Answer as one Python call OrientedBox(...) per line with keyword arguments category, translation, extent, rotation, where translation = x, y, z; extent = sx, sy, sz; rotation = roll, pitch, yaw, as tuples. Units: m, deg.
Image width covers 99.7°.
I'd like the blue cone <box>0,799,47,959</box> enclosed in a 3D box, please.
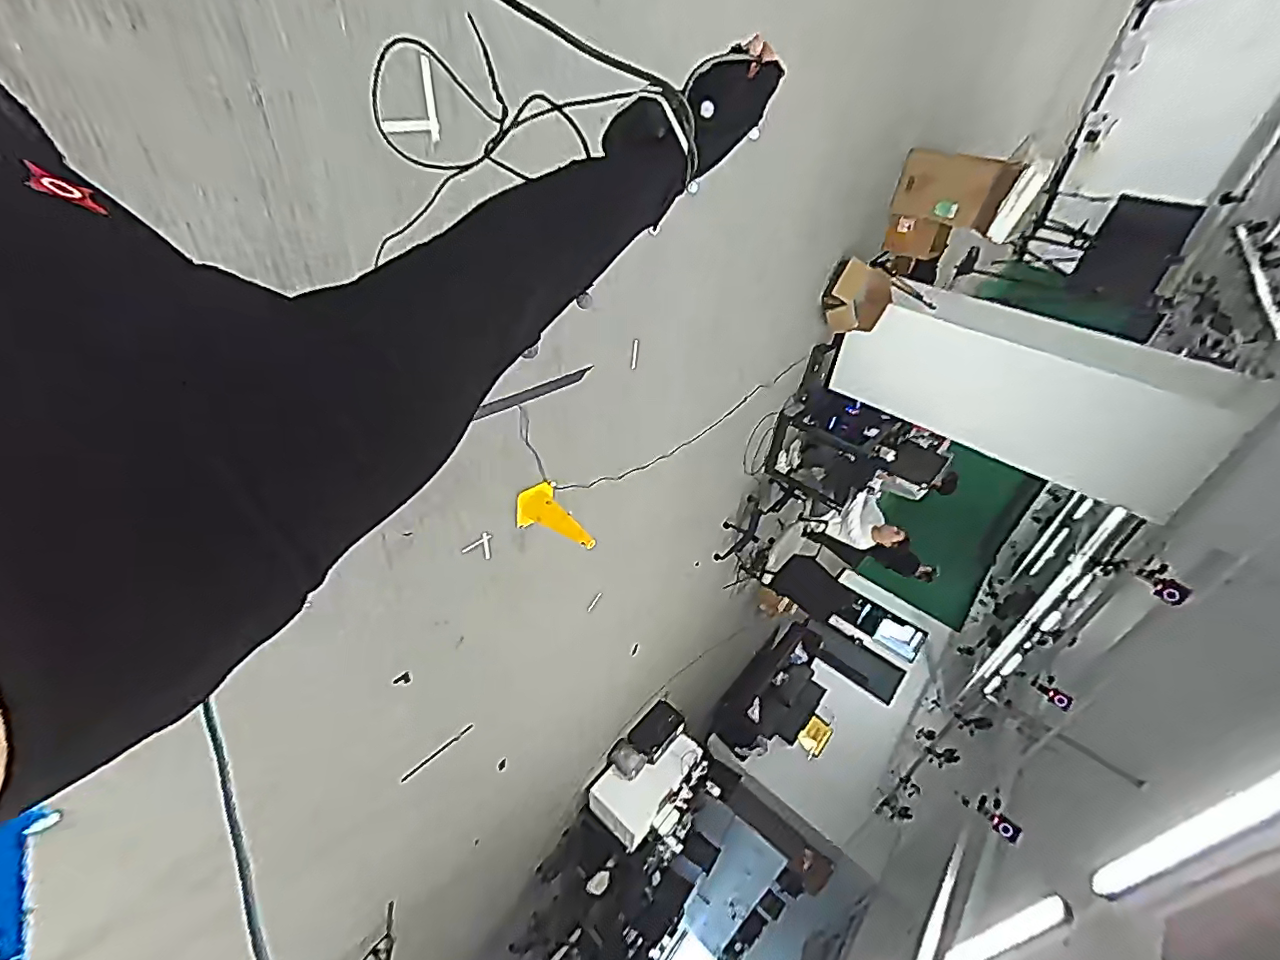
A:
OrientedBox(category="blue cone", translation=(-1.493, 0.958, 1.244), extent=(0.193, 0.380, 0.192), rotation=(-36, 144, -35))
